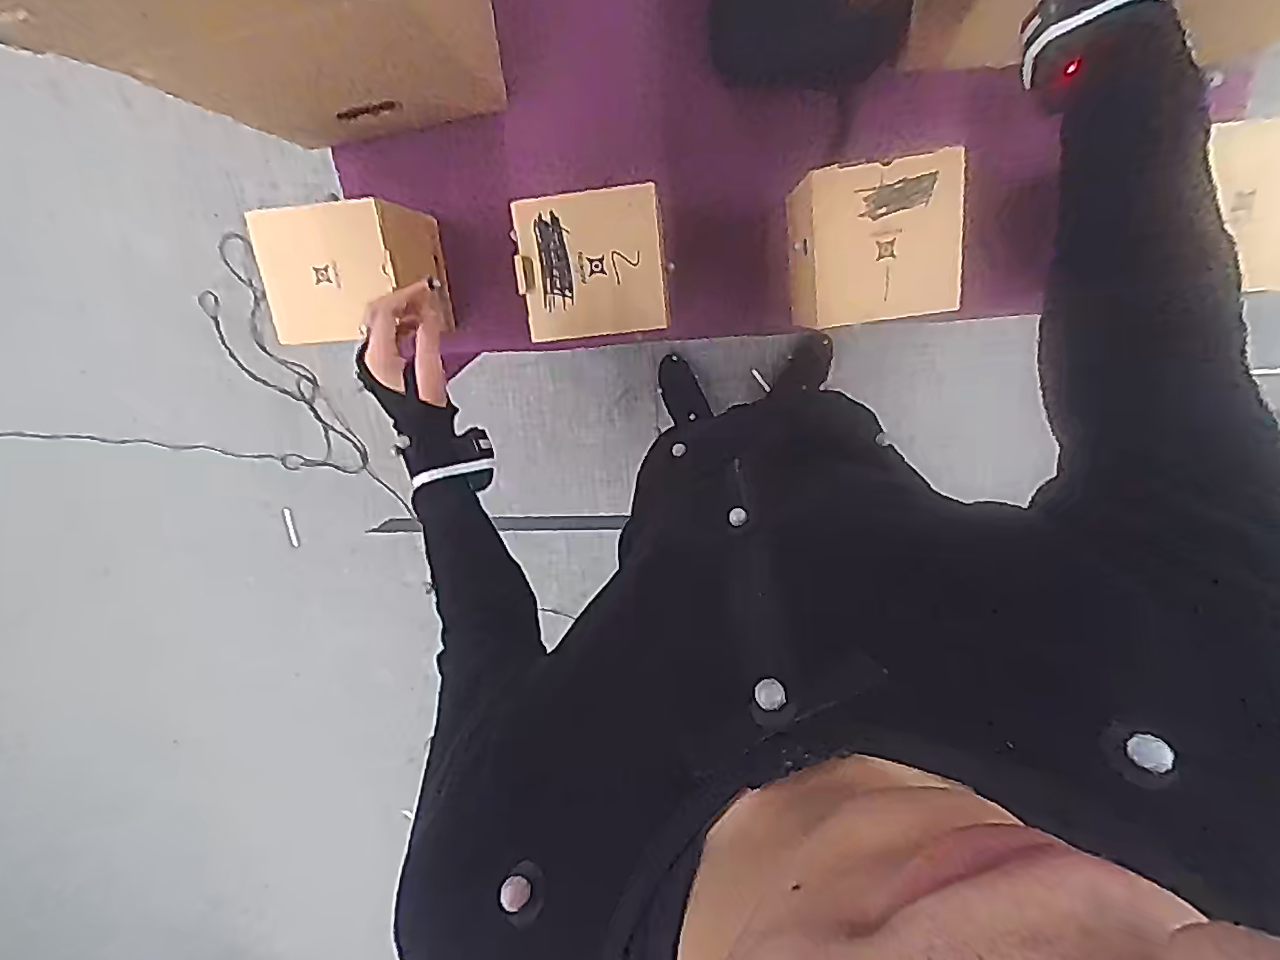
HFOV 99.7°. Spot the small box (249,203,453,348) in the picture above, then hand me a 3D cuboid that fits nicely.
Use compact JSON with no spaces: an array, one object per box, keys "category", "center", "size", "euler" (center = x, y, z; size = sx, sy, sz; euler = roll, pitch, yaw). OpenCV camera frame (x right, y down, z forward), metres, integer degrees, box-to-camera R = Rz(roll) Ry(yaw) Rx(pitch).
[{"category":"small box","center":[-0.392,-0.279,0.765],"size":[0.179,0.176,0.168],"euler":[-4,107,5]}]

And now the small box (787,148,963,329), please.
[{"category":"small box","center":[0.288,-0.296,0.697],"size":[0.168,0.176,0.179],"euler":[-6,108,8]}]

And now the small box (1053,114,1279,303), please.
[{"category":"small box","center":[0.646,-0.313,0.655],"size":[0.168,0.176,0.179],"euler":[-1,107,7]}]
